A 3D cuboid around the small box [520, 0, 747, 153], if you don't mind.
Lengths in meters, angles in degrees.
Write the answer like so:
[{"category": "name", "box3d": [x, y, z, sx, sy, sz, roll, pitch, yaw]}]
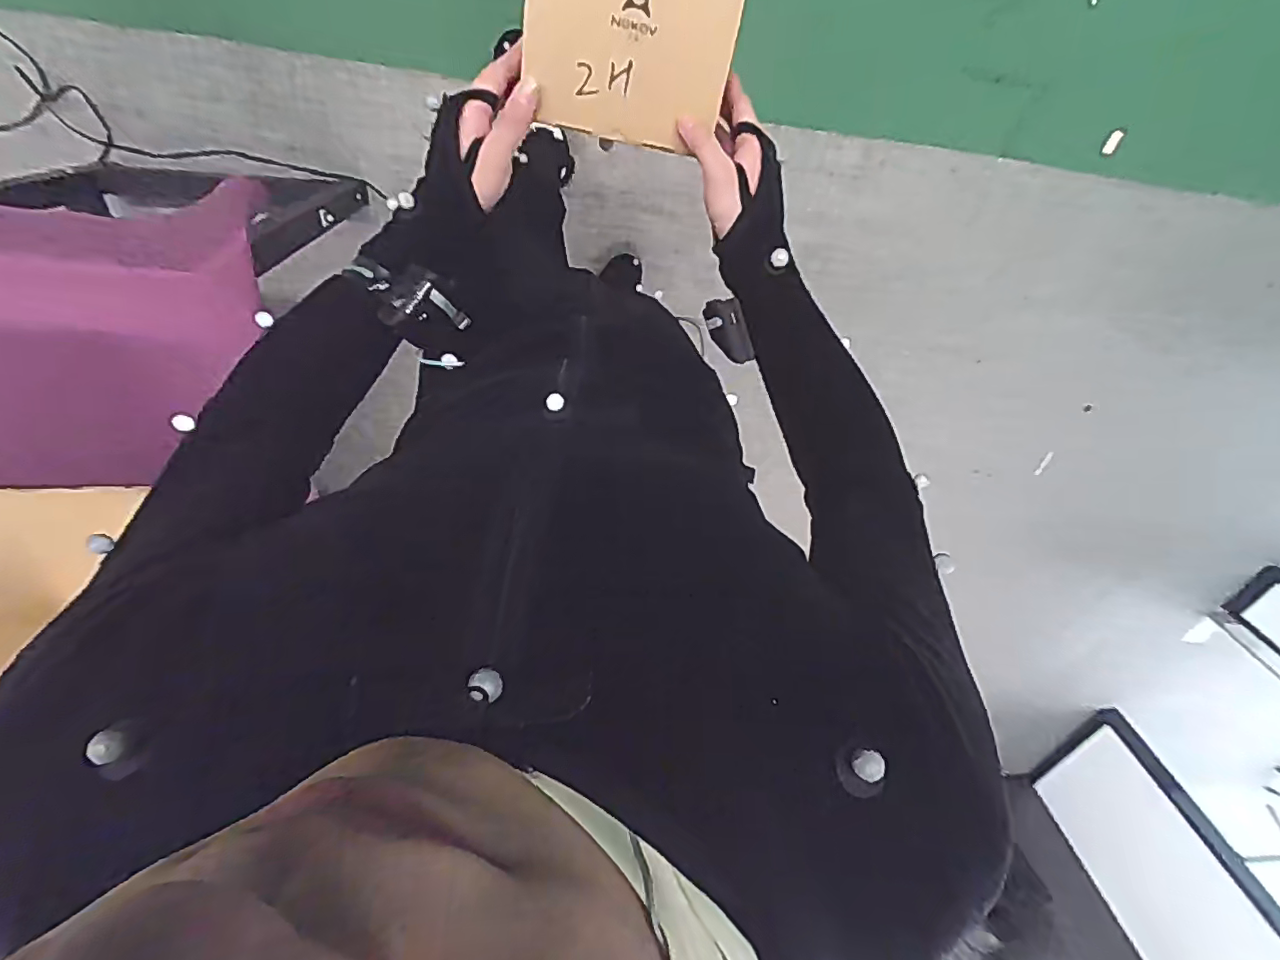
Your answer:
[{"category": "small box", "box3d": [-0.010, -0.408, 0.469, 0.168, 0.176, 0.179, 6, 125, -11]}]
